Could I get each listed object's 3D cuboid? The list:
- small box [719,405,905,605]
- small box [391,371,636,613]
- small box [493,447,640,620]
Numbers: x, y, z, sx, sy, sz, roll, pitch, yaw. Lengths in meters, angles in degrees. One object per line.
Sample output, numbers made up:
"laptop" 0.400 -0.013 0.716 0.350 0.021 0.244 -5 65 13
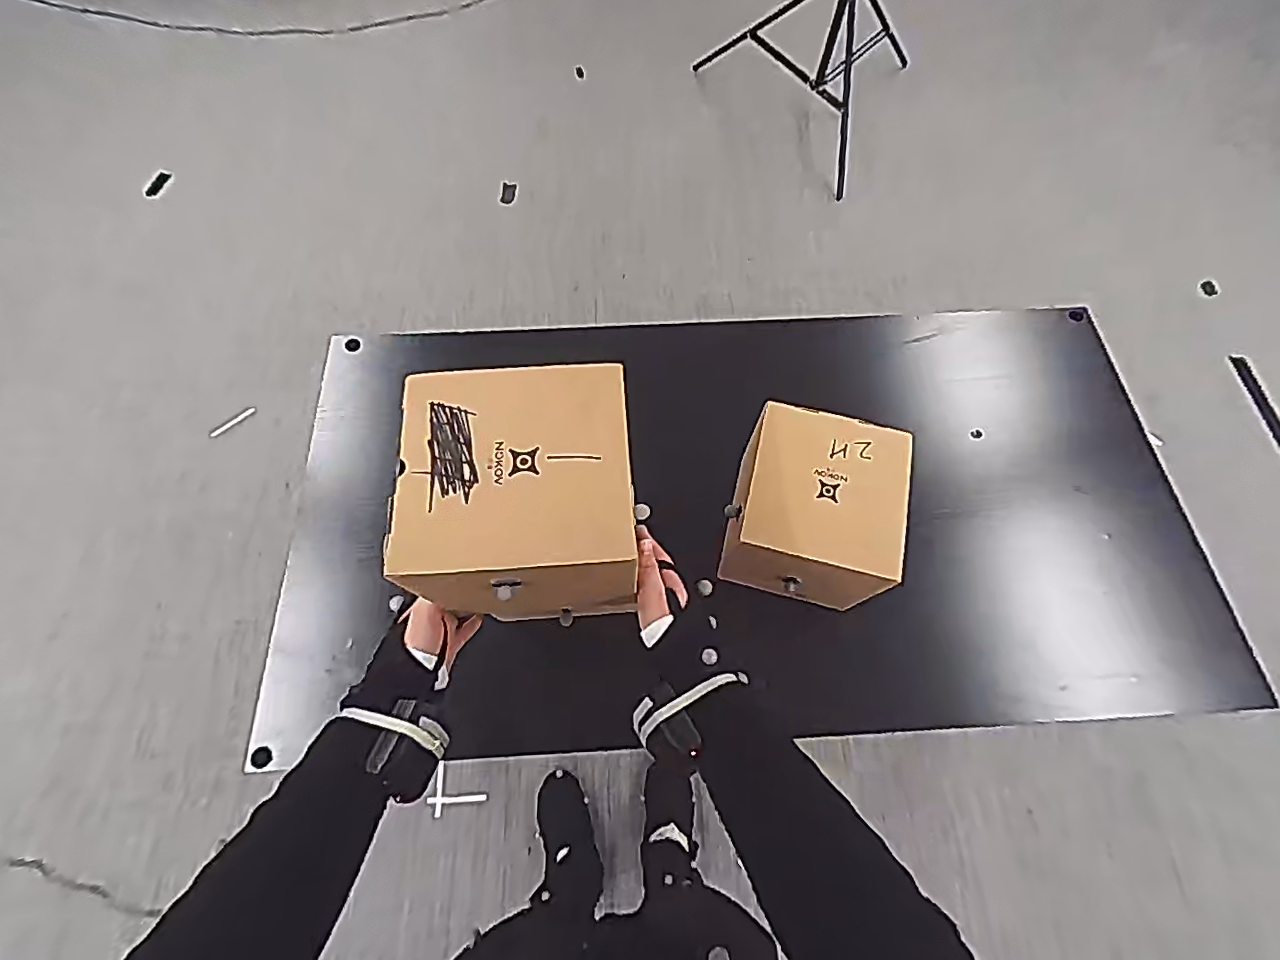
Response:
"small box" 0.198 0.040 0.660 0.168 0.176 0.179 14 67 5
"small box" -0.095 0.021 0.487 0.179 0.176 0.168 -4 67 -2
"small box" -0.095 0.068 0.647 0.179 0.176 0.168 -4 67 -3
